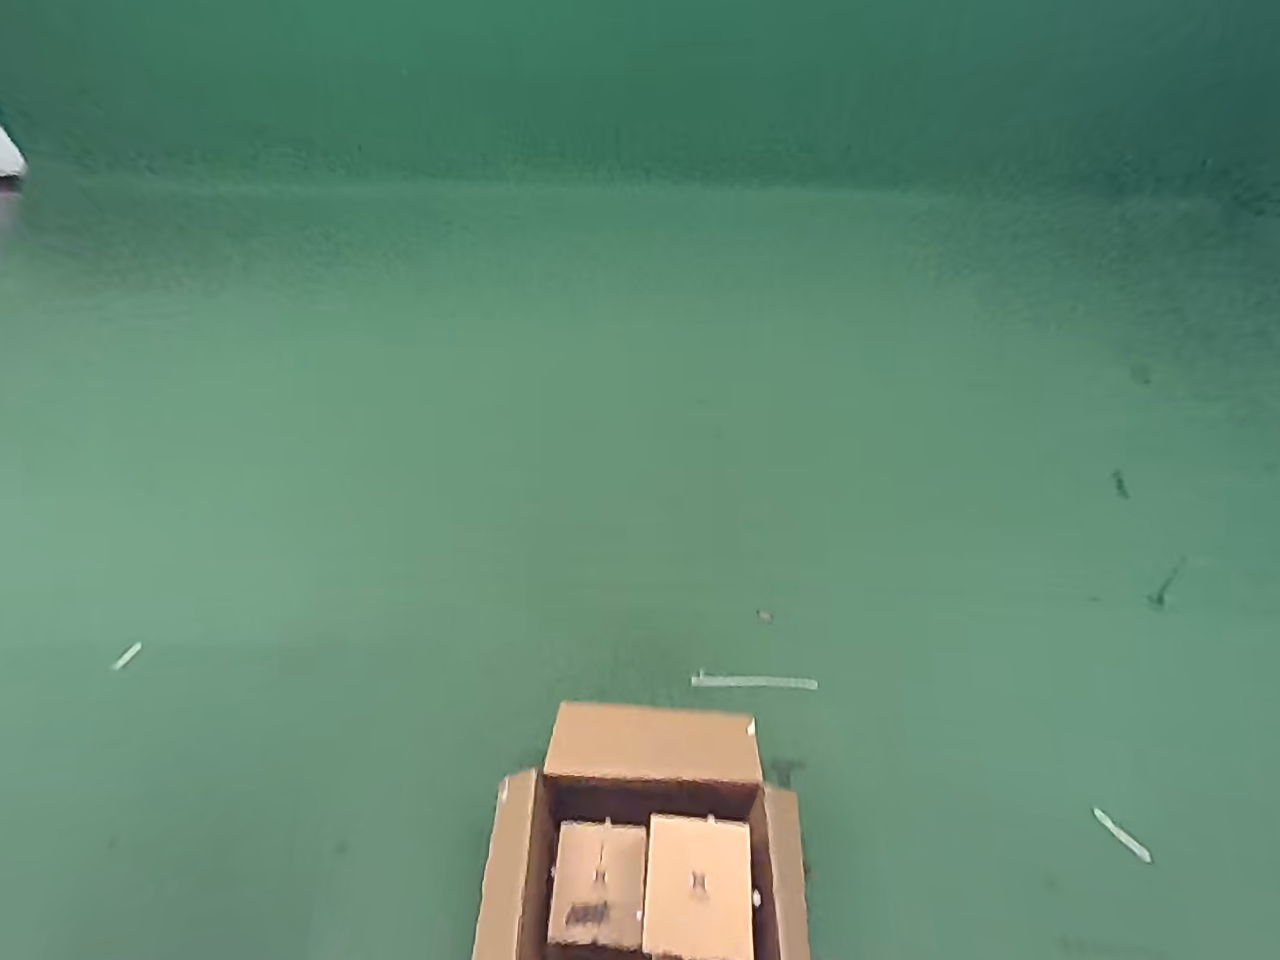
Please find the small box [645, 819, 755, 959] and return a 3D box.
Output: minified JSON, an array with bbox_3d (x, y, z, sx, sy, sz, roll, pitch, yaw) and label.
[{"bbox_3d":[0.099,0.690,0.907,0.168,0.176,0.179,2,51,6],"label":"small box"}]
